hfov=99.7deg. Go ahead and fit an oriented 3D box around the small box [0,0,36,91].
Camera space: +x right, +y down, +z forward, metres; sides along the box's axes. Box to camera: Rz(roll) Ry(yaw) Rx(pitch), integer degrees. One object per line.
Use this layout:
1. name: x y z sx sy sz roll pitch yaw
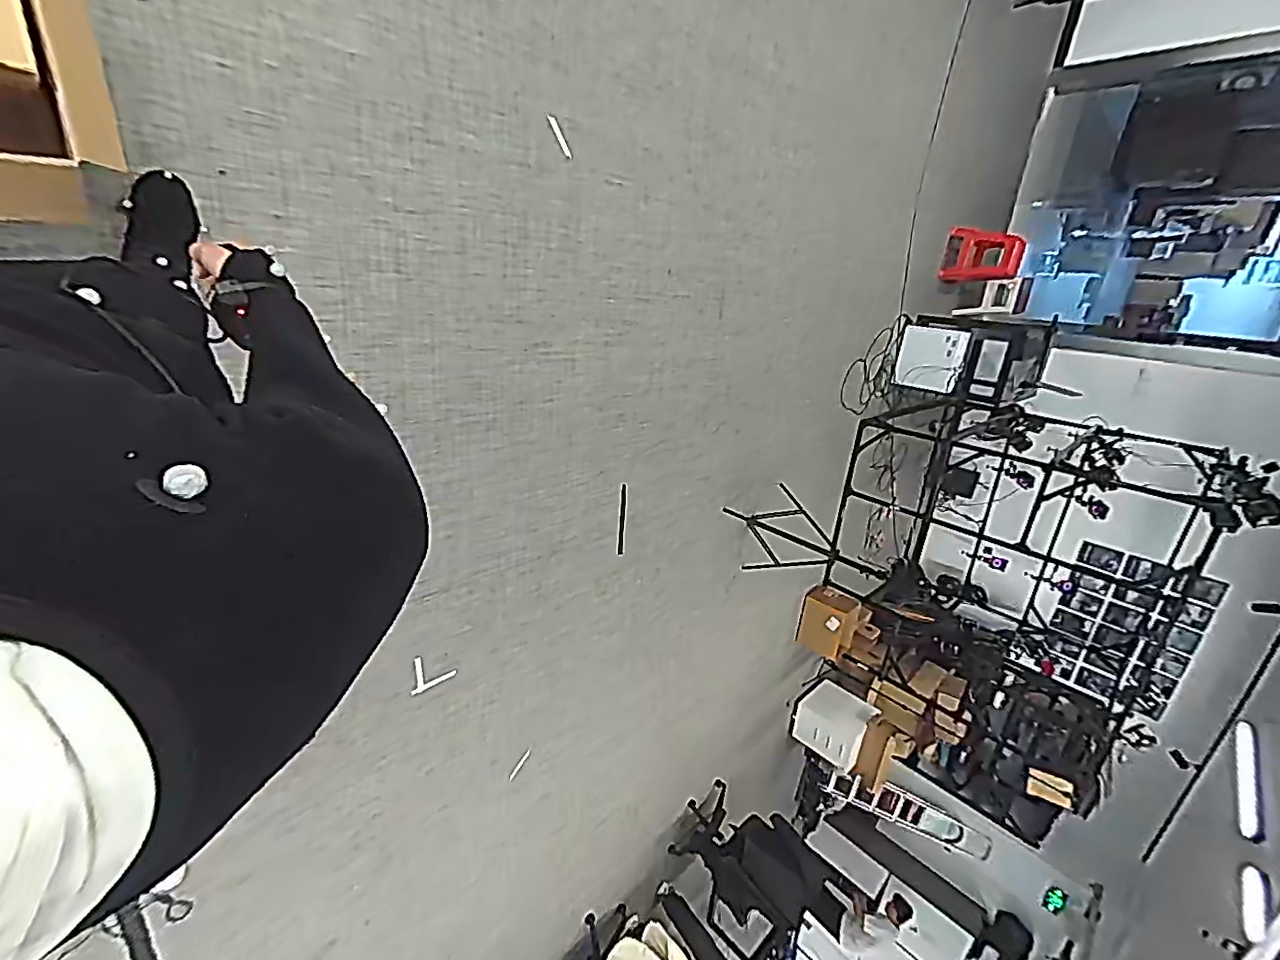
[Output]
1. small box: -0.975 -0.675 0.745 0.168 0.176 0.179 -13 117 -43
